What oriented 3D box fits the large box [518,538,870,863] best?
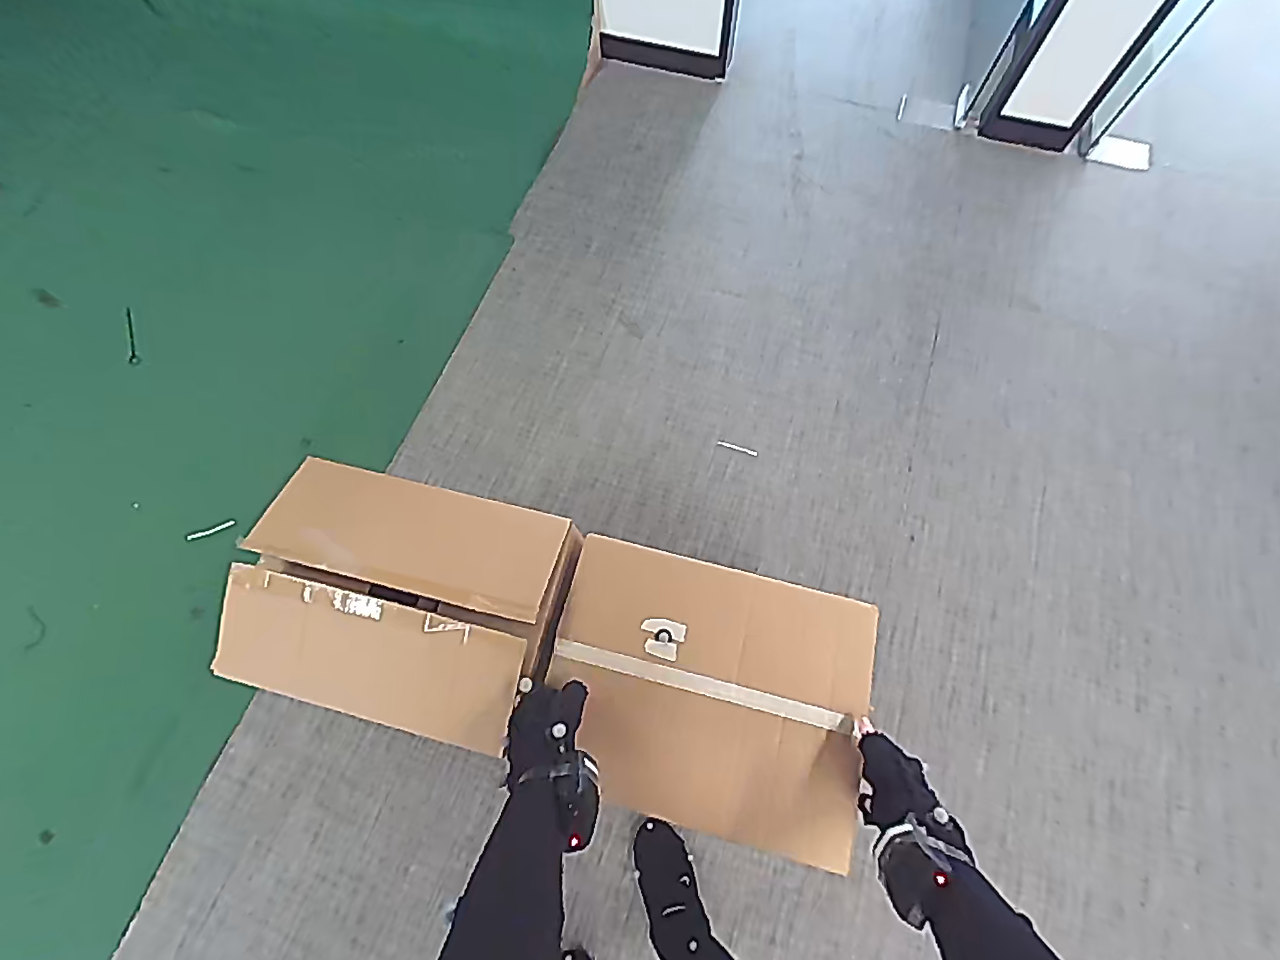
[{"bbox_3d":[0.086,0.309,0.827,0.408,0.320,0.320,13,71,7],"label":"large box"}]
